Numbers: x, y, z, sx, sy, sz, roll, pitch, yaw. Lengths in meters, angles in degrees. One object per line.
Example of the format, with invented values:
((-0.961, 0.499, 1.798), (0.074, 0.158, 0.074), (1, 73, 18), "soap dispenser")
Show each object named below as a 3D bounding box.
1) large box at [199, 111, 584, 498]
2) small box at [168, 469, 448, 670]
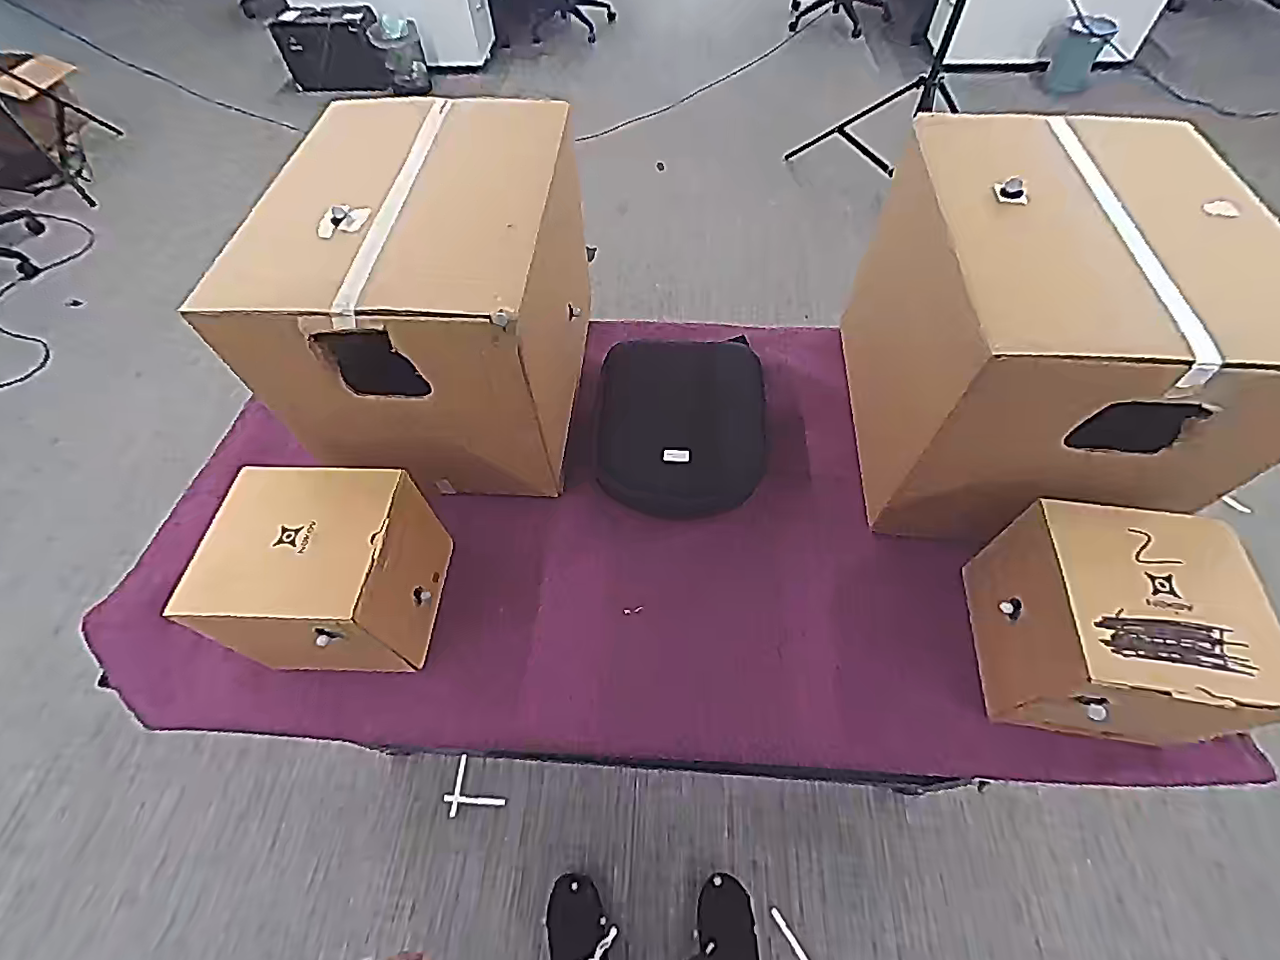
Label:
((-0.251, -0.224, 0.723), (0.320, 0.320, 0.408), (1, 59, 3), "large box")
((-0.335, 0.103, 0.592), (0.179, 0.176, 0.168), (0, 55, 1), "small box")
